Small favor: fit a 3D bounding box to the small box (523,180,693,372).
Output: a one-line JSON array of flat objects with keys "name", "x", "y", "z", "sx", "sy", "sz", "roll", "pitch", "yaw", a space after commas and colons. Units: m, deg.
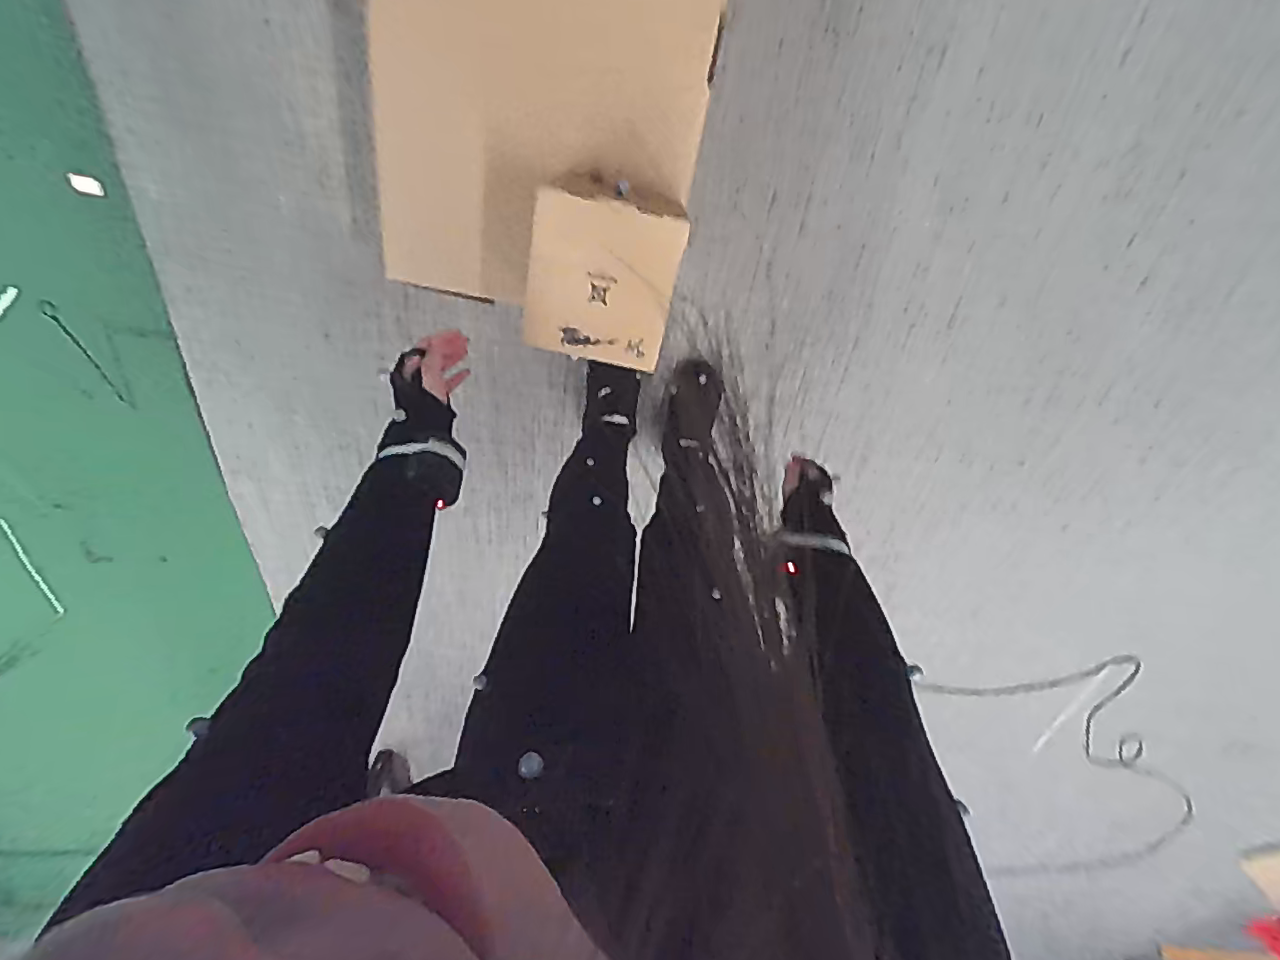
[{"name": "small box", "x": -0.041, "y": -0.262, "z": 0.679, "sx": 0.168, "sy": 0.176, "sz": 0.179, "roll": 12, "pitch": 121, "yaw": -6}]
